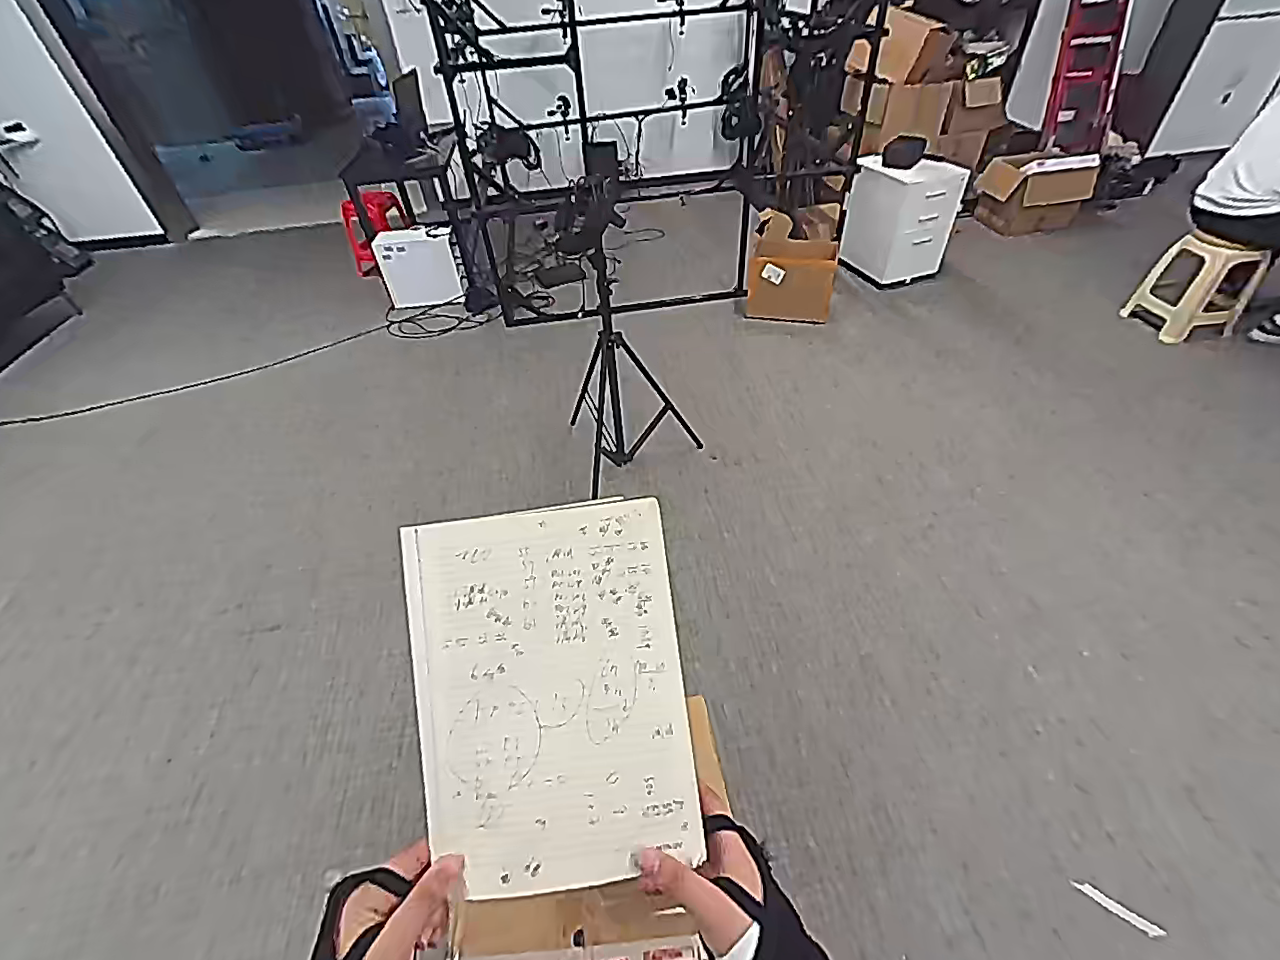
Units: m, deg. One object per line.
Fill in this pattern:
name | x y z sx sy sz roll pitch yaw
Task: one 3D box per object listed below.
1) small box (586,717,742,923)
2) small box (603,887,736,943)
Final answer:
small box | 0.021 0.437 0.698 0.168 0.176 0.179 -6 44 -5
small box | 0.028 0.560 0.806 0.179 0.176 0.168 -9 44 -7
